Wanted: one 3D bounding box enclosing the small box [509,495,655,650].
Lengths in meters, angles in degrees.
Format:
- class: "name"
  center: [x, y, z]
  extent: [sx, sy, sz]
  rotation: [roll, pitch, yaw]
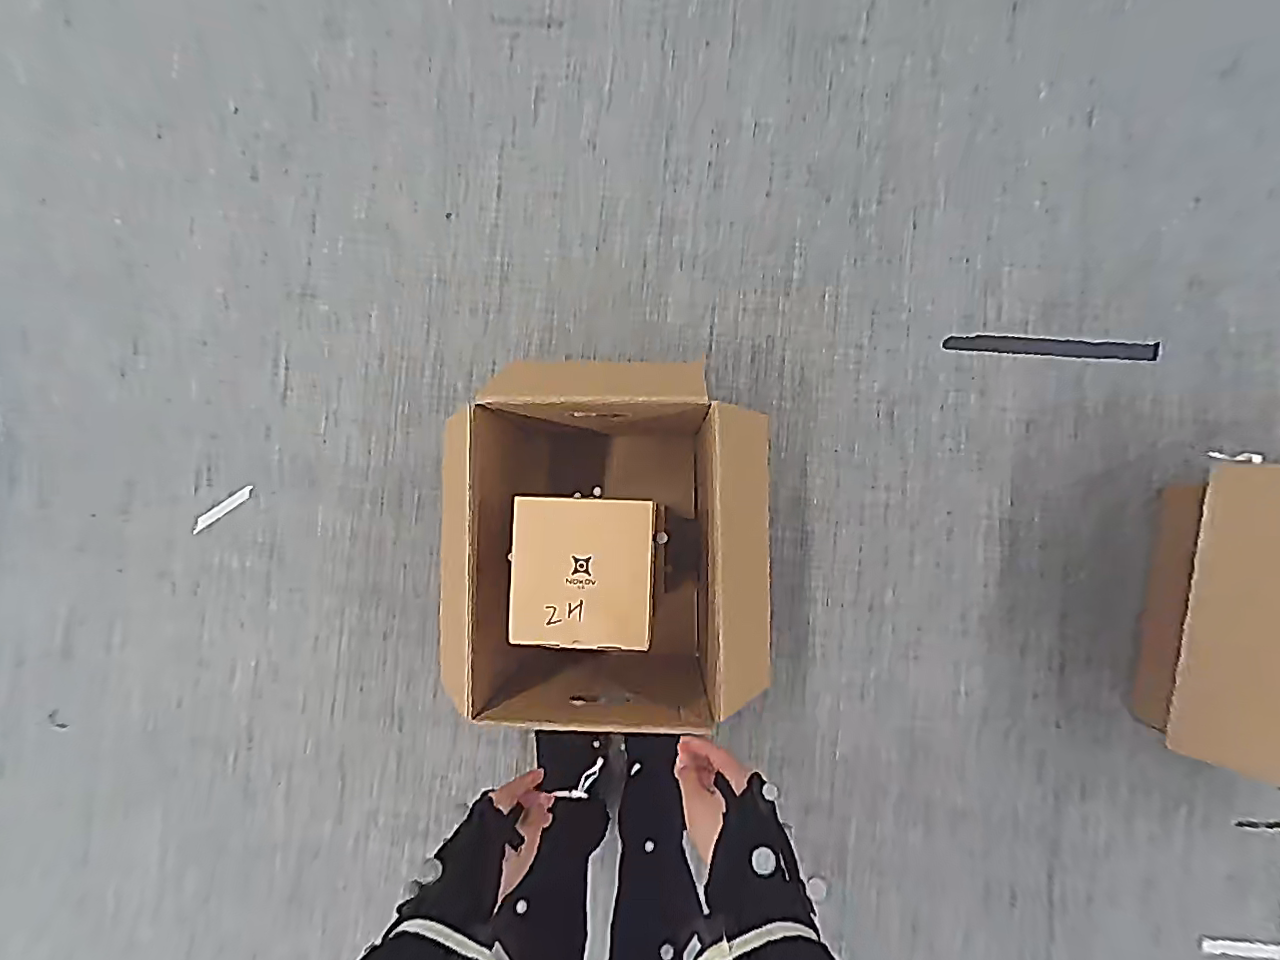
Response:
- class: "small box"
  center: [-0.066, 0.112, 0.713]
  extent: [0.168, 0.176, 0.179]
  rotation: [2, 88, 3]
